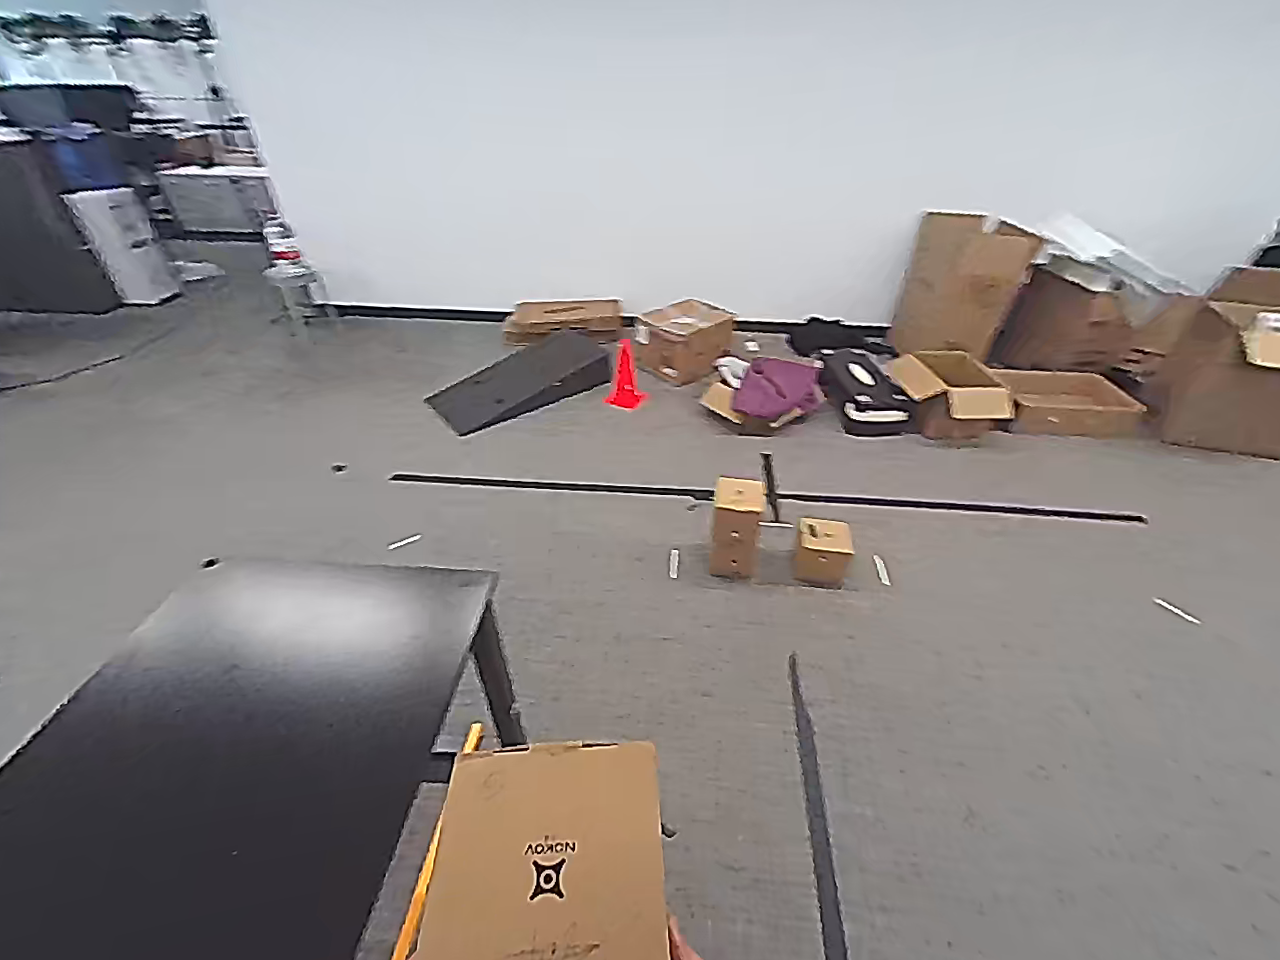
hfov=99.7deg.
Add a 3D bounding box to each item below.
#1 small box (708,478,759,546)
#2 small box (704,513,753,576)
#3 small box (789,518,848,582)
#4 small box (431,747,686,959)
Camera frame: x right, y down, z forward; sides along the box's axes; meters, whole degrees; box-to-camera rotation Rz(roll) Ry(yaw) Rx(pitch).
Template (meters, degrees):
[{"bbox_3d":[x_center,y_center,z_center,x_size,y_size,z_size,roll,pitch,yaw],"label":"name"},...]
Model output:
[{"bbox_3d":[0.338,0.115,1.971,0.168,0.176,0.179,6,38,7],"label":"small box"},{"bbox_3d":[0.335,0.249,2.069,0.168,0.176,0.179,2,38,3],"label":"small box"},{"bbox_3d":[0.669,0.267,2.052,0.179,0.176,0.168,6,38,5],"label":"small box"},{"bbox_3d":[-0.053,0.338,0.432,0.168,0.176,0.179,-2,42,-1],"label":"small box"}]
